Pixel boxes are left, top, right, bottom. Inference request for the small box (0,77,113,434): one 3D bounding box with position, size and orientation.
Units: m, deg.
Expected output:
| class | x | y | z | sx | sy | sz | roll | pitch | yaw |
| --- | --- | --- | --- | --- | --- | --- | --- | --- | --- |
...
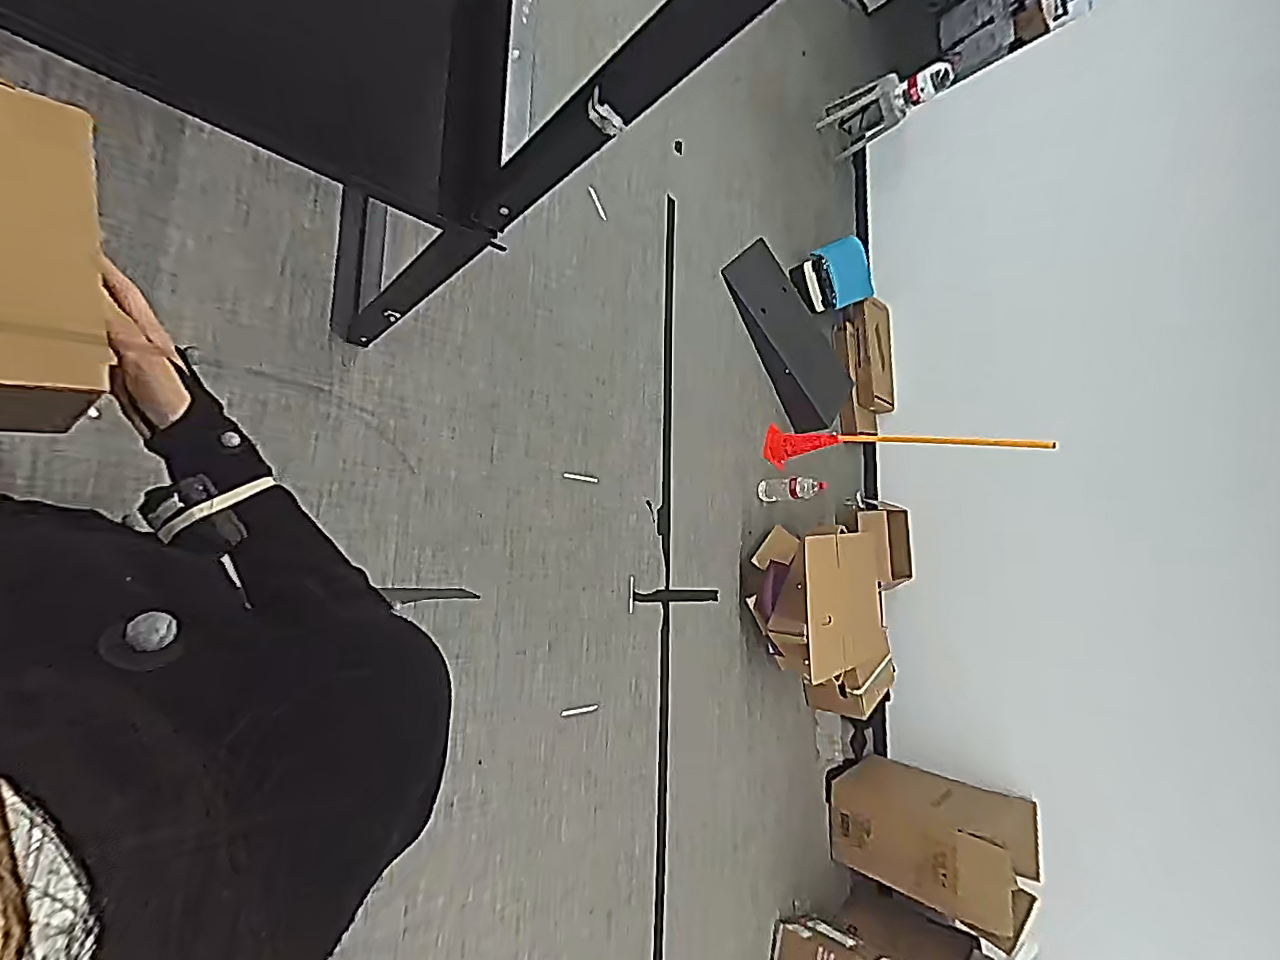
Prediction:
| class | x | y | z | sx | sy | sz | roll | pitch | yaw |
| --- | --- | --- | --- | --- | --- | --- | --- | --- | --- |
| small box | -0.438 | -0.130 | 0.311 | 0.168 | 0.176 | 0.179 | -3 | 86 | -53 |
